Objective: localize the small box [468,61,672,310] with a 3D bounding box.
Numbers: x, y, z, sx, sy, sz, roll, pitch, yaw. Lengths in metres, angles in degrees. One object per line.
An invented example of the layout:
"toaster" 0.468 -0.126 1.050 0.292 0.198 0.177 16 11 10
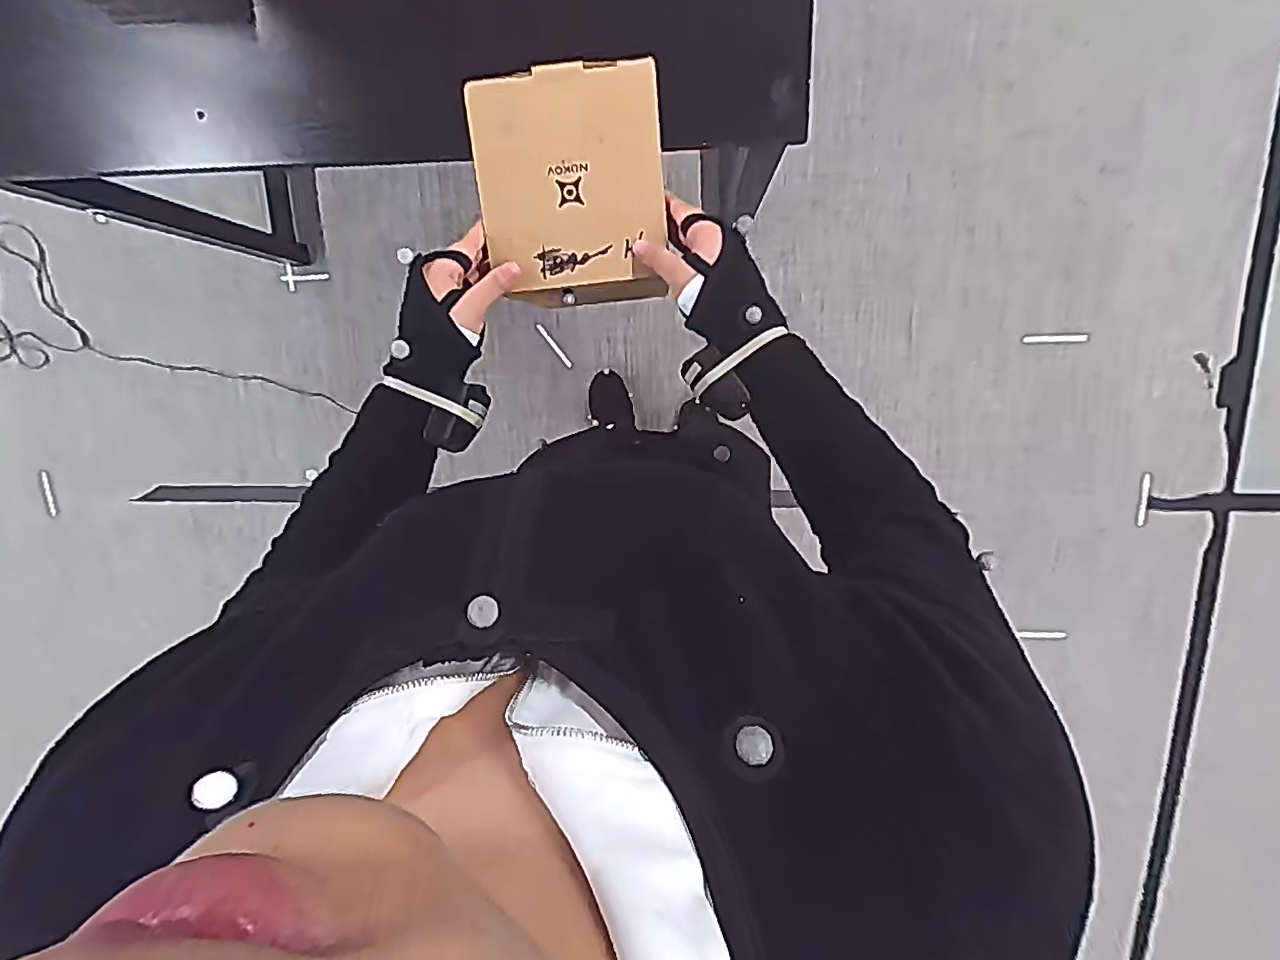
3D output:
"small box" -0.057 -0.280 0.555 0.168 0.176 0.179 -5 102 4
